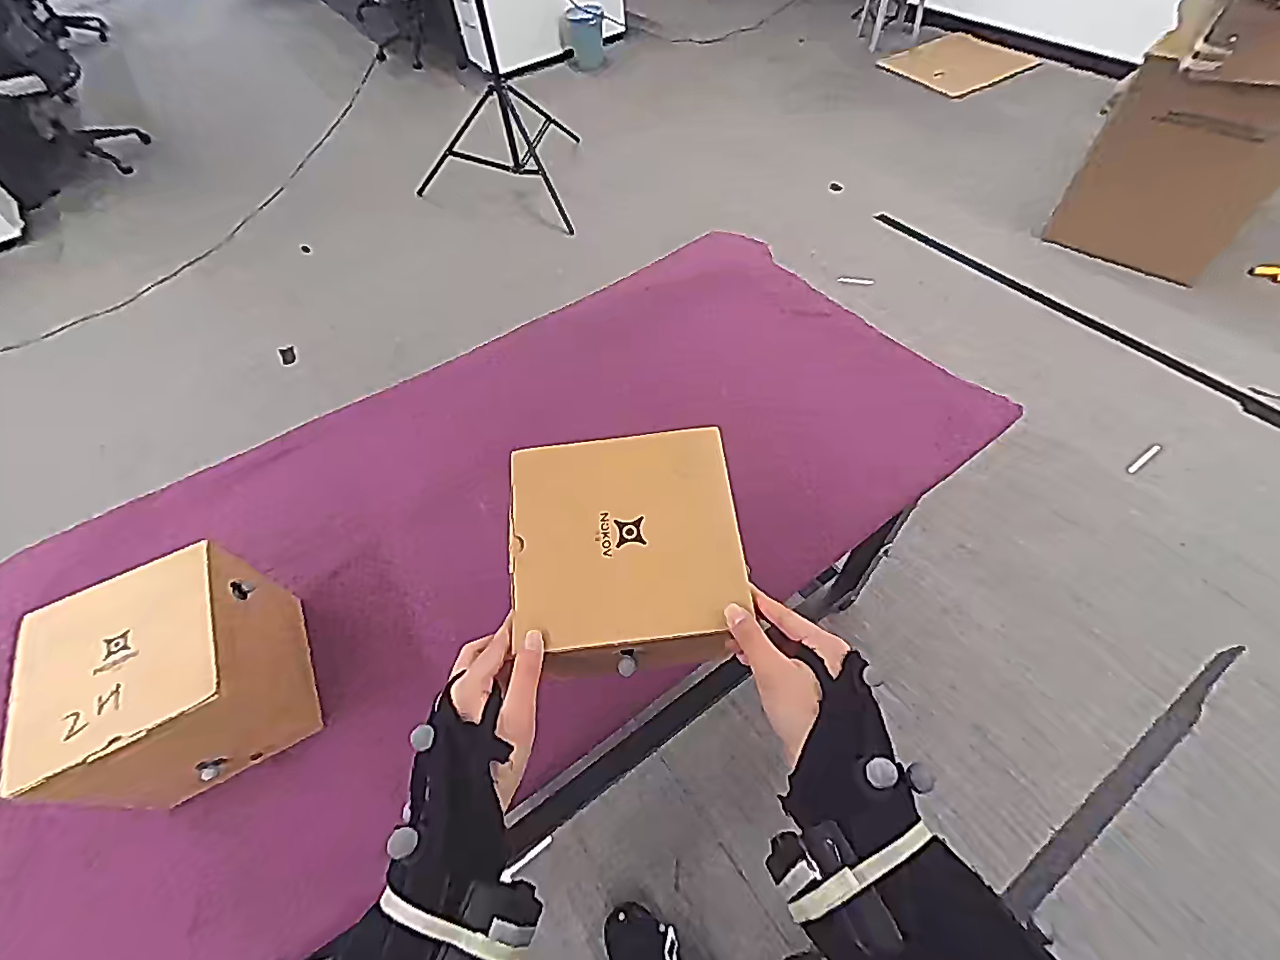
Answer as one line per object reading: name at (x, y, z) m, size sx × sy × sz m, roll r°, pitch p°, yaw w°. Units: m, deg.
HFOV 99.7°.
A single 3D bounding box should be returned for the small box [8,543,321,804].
small box at (-0.463, 0.202, 0.557) m, size 0.168 × 0.176 × 0.179 m, roll -26°, pitch 58°, yaw -13°
